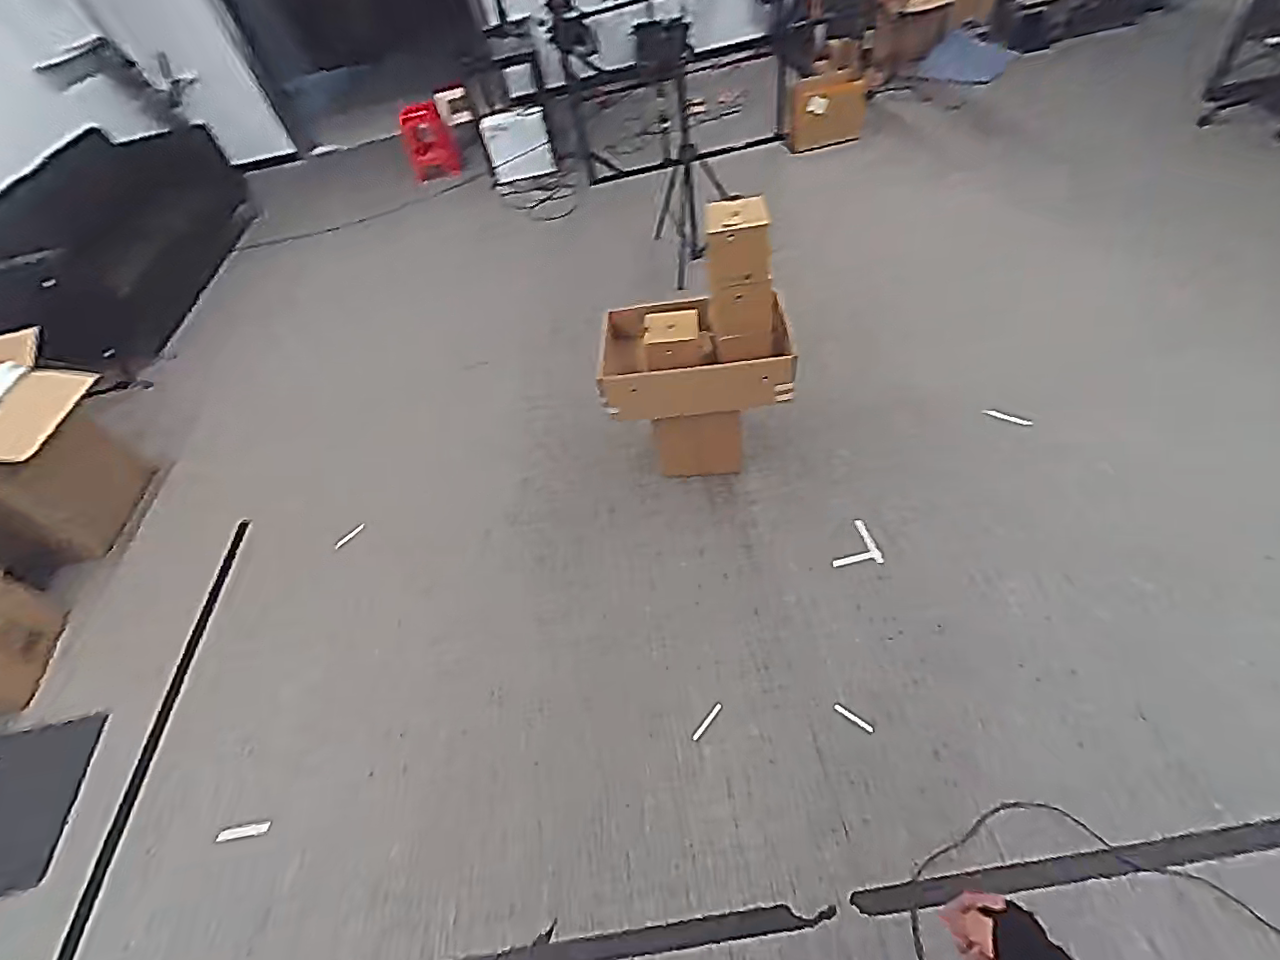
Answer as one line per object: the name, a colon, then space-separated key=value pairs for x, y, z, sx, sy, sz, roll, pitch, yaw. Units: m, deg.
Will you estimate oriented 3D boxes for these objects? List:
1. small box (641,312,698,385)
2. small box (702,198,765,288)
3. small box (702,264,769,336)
small box: x=0.104 y=-0.438 z=1.817 sx=0.179 sy=0.176 sz=0.168 roll=-4 pitch=49 yaw=9
small box: x=0.267 y=-0.673 z=1.542 sx=0.168 sy=0.176 sz=0.179 roll=-5 pitch=48 yaw=11
small box: x=0.295 y=-0.564 z=1.662 sx=0.179 sy=0.176 sz=0.168 roll=-9 pitch=49 yaw=6
